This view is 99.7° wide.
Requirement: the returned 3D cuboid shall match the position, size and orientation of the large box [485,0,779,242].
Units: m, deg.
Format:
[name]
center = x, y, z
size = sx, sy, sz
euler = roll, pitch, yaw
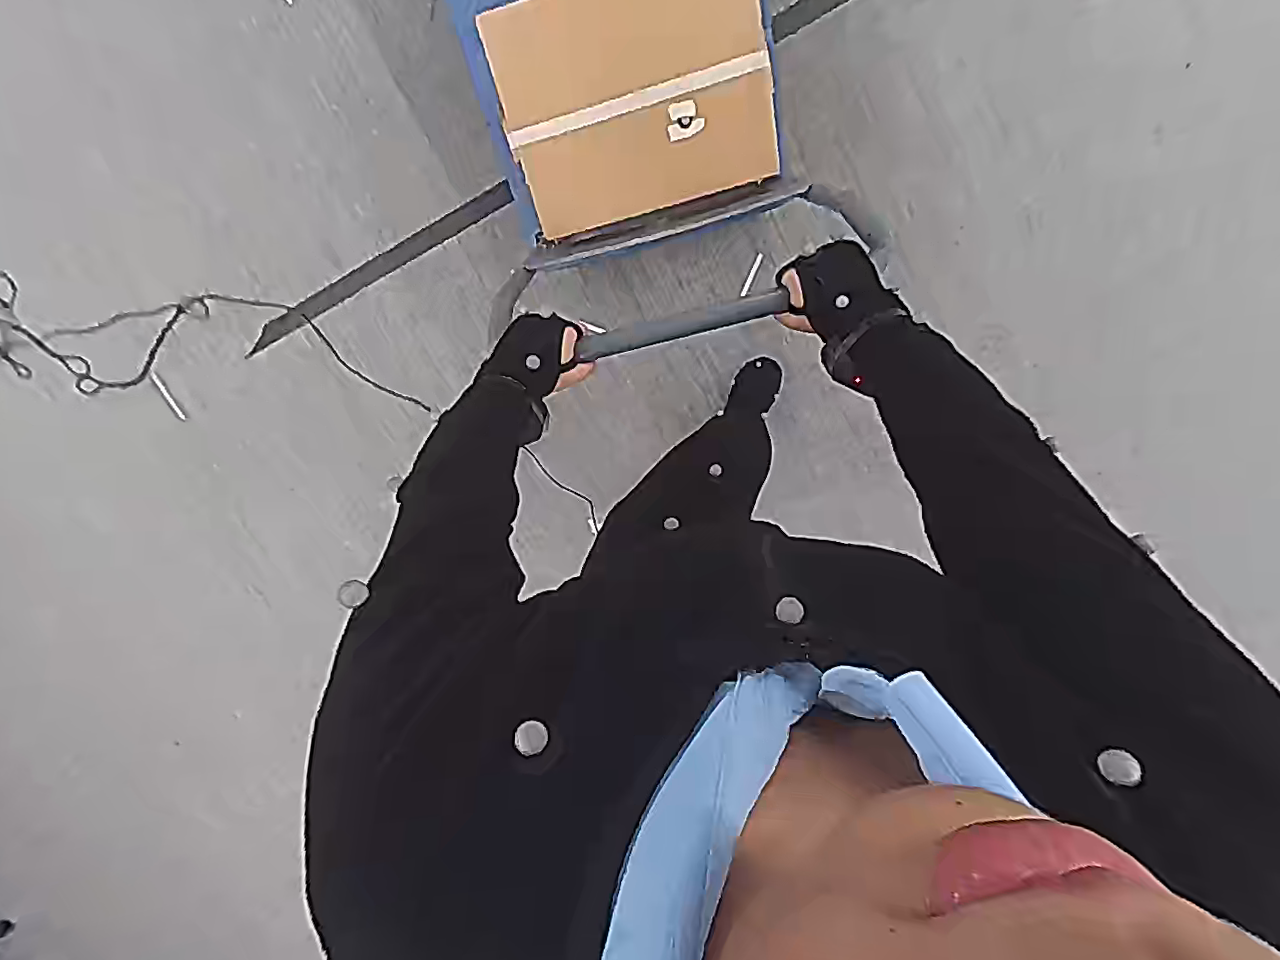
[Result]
[large box]
center = -0.004, -0.661, 0.974
size = 0.408, 0.320, 0.320
euler = -14, 120, 7
